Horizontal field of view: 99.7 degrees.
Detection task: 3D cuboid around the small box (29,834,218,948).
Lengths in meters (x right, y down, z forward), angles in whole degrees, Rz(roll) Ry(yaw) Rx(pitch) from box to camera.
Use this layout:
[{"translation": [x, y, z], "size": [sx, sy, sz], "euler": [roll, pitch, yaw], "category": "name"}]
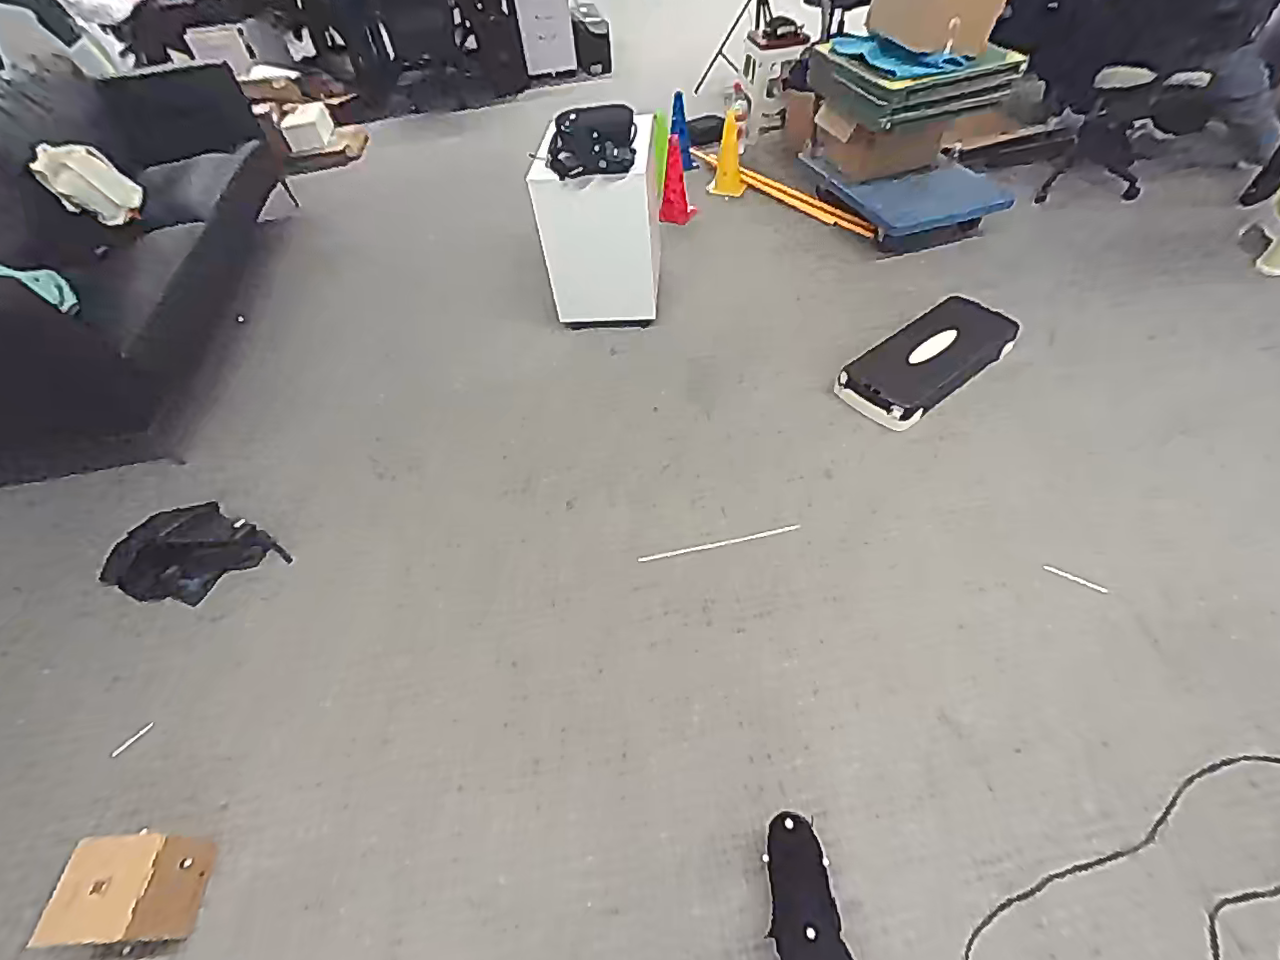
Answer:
[{"translation": [-0.999, 0.811, 1.069], "size": [0.179, 0.176, 0.168], "euler": [-6, 49, 2], "category": "small box"}]
